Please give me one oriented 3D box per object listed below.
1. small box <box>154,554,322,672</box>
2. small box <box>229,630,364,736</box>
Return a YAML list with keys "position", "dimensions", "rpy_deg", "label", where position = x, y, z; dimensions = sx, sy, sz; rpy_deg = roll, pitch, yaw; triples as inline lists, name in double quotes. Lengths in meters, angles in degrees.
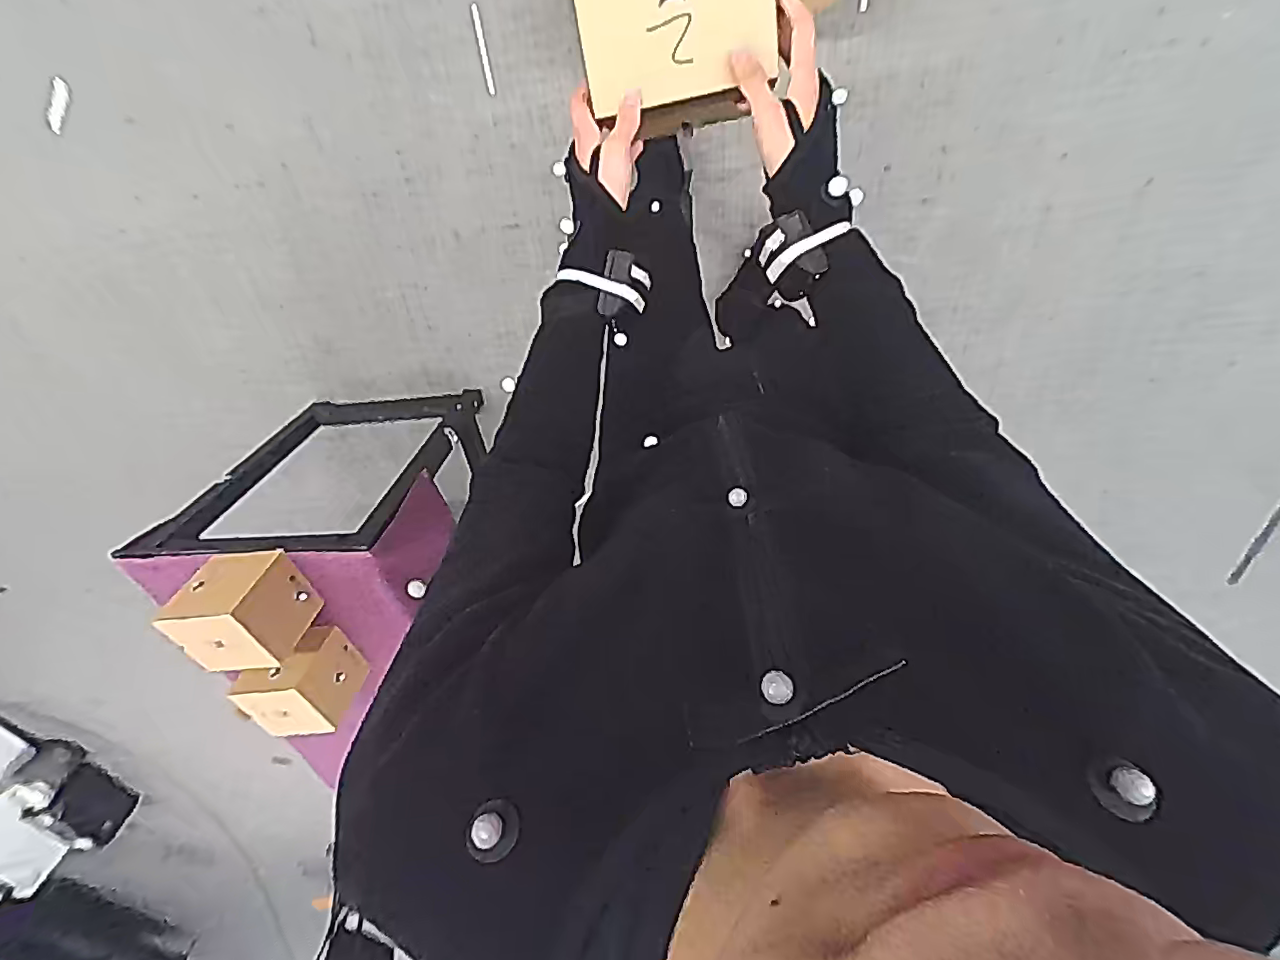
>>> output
- position: [-0.799, 0.268, 1.097]
  dimensions: [0.179, 0.176, 0.168]
  rpy_deg: [-6, 127, 10]
  label: "small box"
- position: [-0.767, 0.460, 1.237]
  dimensions: [0.179, 0.176, 0.168]
  rpy_deg: [-8, 125, 11]
  label: "small box"
